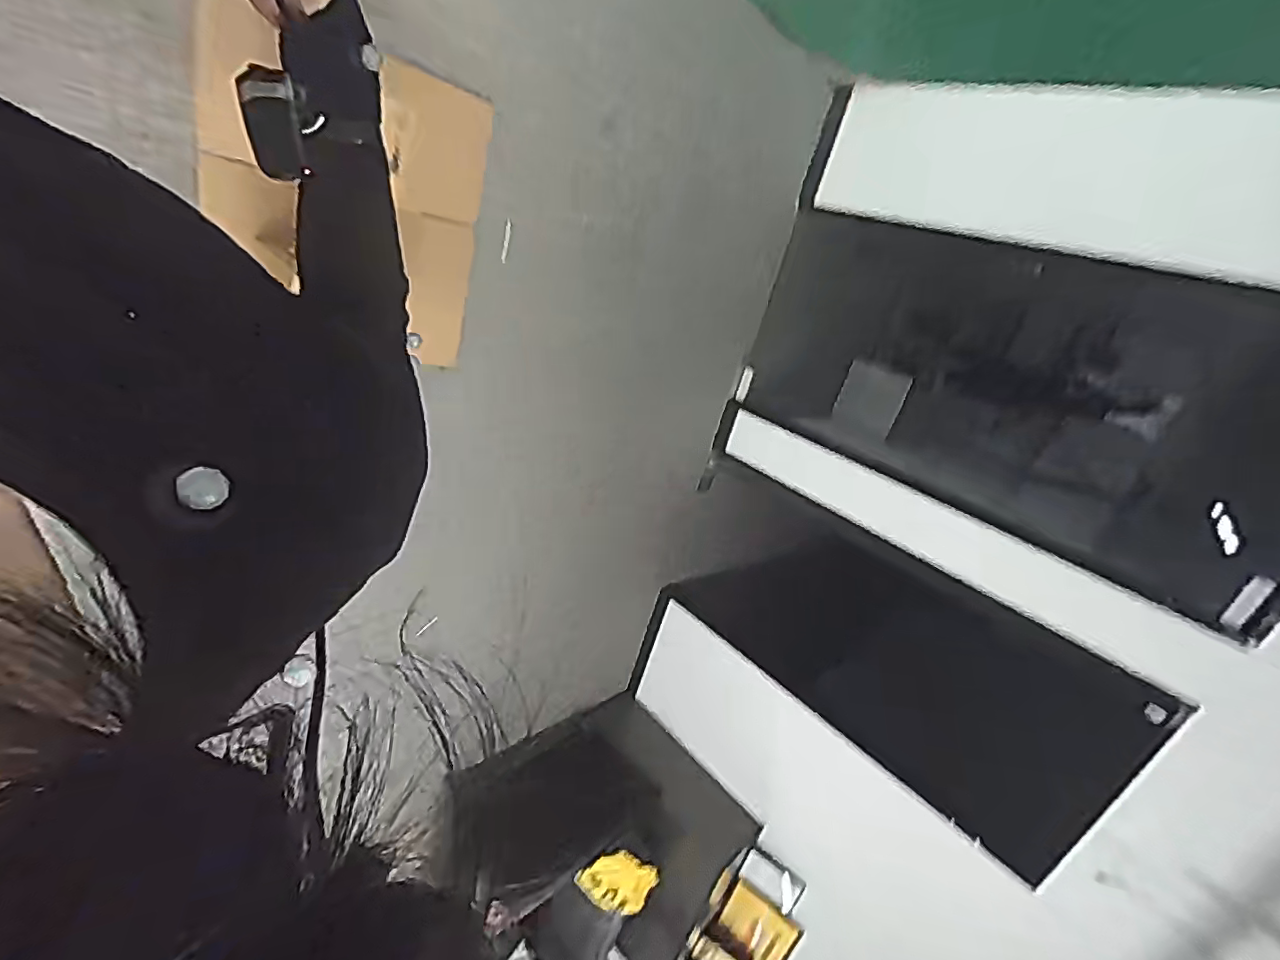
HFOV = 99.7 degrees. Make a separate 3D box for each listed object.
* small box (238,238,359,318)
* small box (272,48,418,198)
[{"bbox_3d":[-0.764,-0.418,1.202,0.179,0.176,0.168,3,116,-51],"label":"small box"},{"bbox_3d":[-0.546,-0.649,0.993,0.179,0.176,0.168,4,116,-51],"label":"small box"}]
